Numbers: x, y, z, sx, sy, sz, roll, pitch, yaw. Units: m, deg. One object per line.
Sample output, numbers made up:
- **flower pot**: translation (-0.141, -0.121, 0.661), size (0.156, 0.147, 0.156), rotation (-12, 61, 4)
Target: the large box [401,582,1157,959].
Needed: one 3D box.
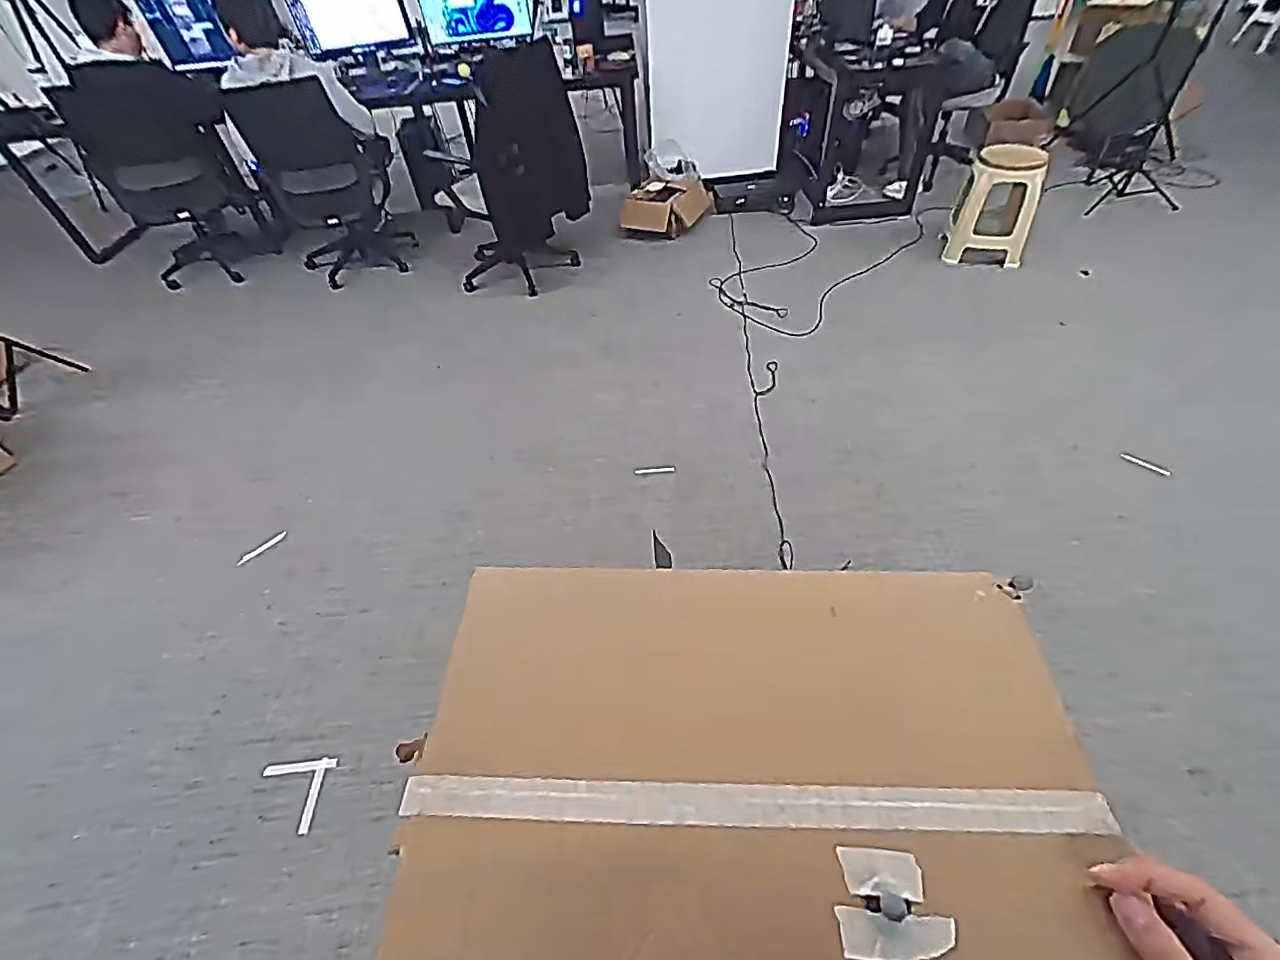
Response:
- **large box**: translation (0.073, 0.293, 0.442), size (0.408, 0.320, 0.320), rotation (0, 52, 2)
